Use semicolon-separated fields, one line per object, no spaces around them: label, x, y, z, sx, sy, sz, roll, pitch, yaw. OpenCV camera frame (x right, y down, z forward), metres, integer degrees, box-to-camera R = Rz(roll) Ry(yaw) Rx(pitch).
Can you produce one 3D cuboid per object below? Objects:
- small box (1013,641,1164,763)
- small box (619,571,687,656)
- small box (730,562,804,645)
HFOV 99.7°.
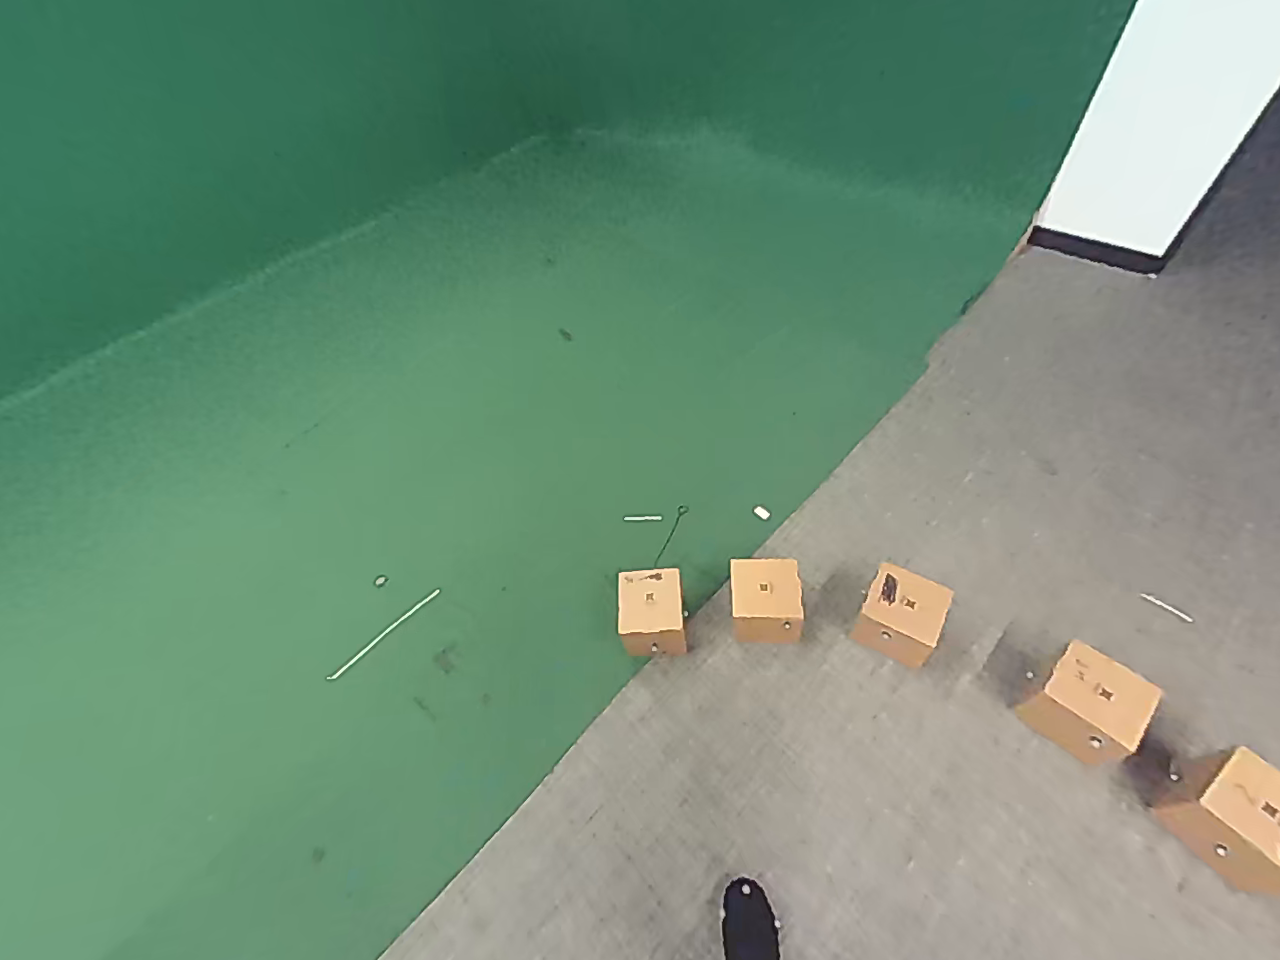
small box;0.986;0.499;1.203;0.168;0.176;0.179;-41;57;-21
small box;0.038;0.367;1.460;0.168;0.176;0.179;-5;53;5
small box;0.333;0.331;1.443;0.179;0.176;0.168;-1;52;8
